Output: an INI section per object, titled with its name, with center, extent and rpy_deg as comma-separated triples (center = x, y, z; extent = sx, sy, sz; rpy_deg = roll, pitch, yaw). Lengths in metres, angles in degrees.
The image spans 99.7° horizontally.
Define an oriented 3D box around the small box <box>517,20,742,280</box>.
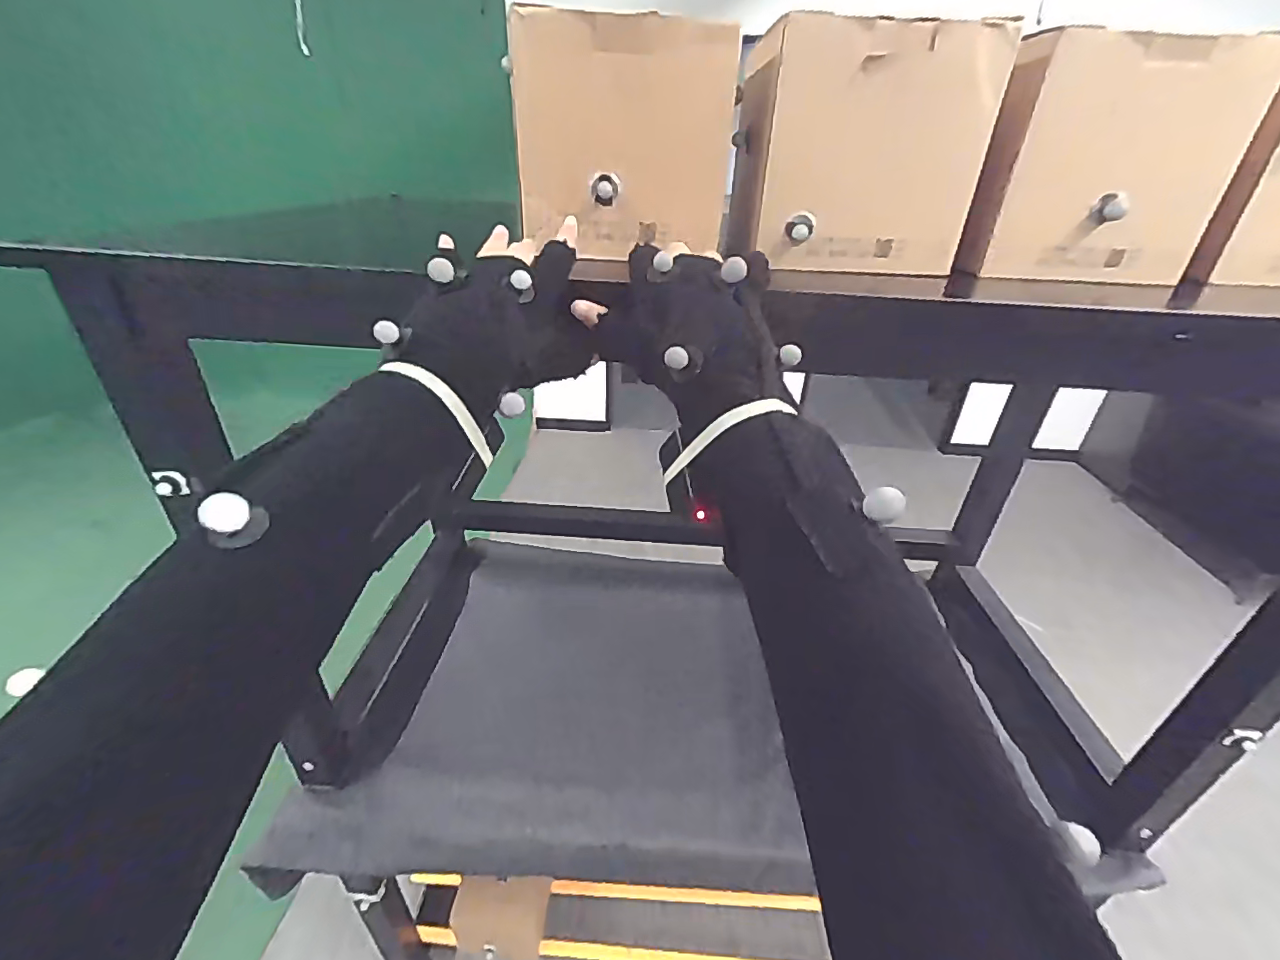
[small box]
center = -0.012, -0.292, 0.497
extent = 0.168, 0.176, 0.179
rpy_deg = 2, 32, -1
